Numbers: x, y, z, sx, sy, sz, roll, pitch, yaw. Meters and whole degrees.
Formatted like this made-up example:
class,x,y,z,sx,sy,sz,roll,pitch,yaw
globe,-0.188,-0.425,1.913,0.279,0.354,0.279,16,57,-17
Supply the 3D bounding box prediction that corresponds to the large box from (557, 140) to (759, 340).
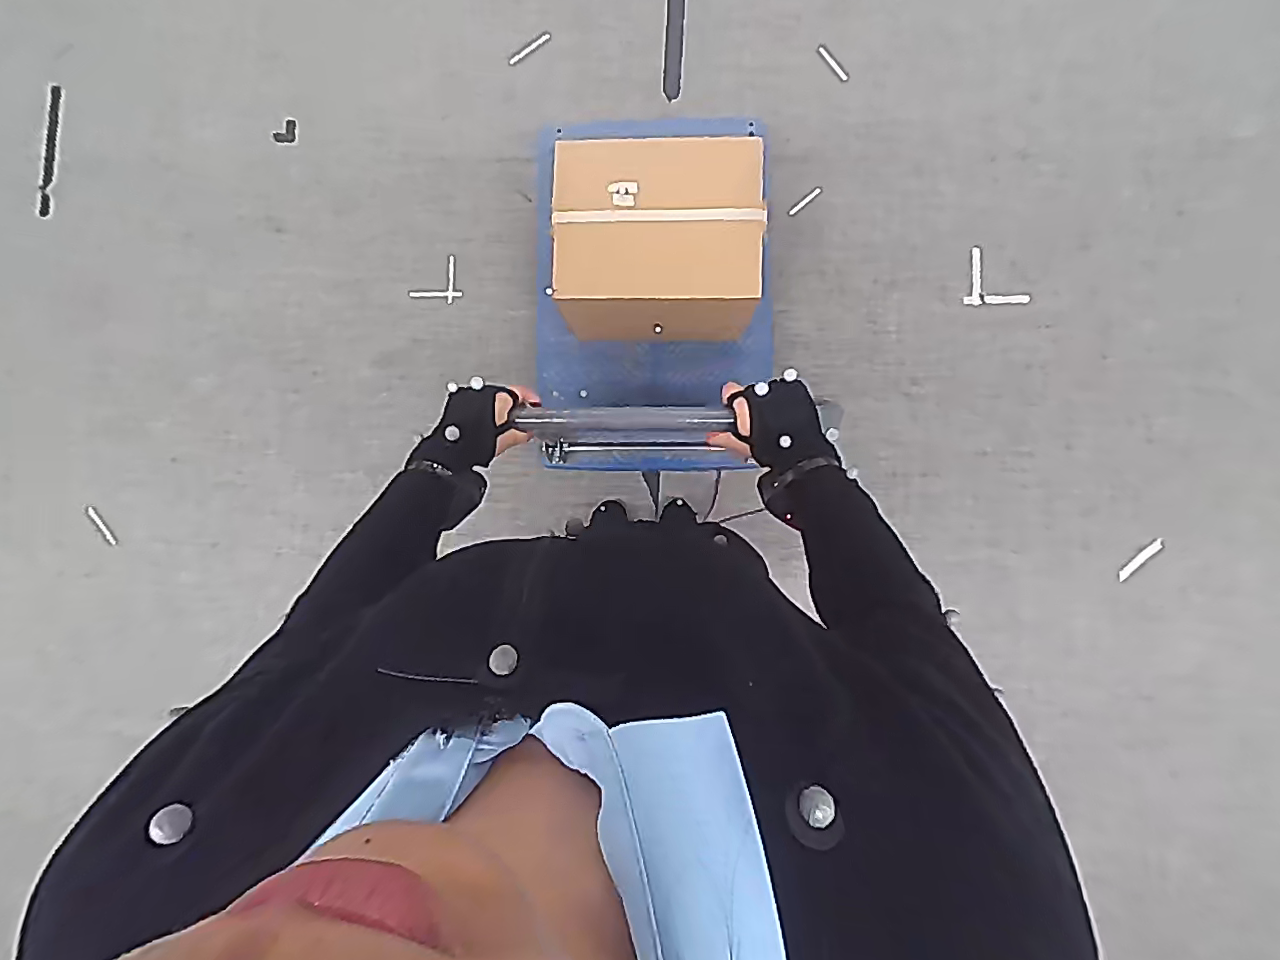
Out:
class,x,y,z,sx,sy,sz,roll,pitch,yaw
large box,0.044,-0.507,1.210,0.408,0.320,0.320,0,88,4
